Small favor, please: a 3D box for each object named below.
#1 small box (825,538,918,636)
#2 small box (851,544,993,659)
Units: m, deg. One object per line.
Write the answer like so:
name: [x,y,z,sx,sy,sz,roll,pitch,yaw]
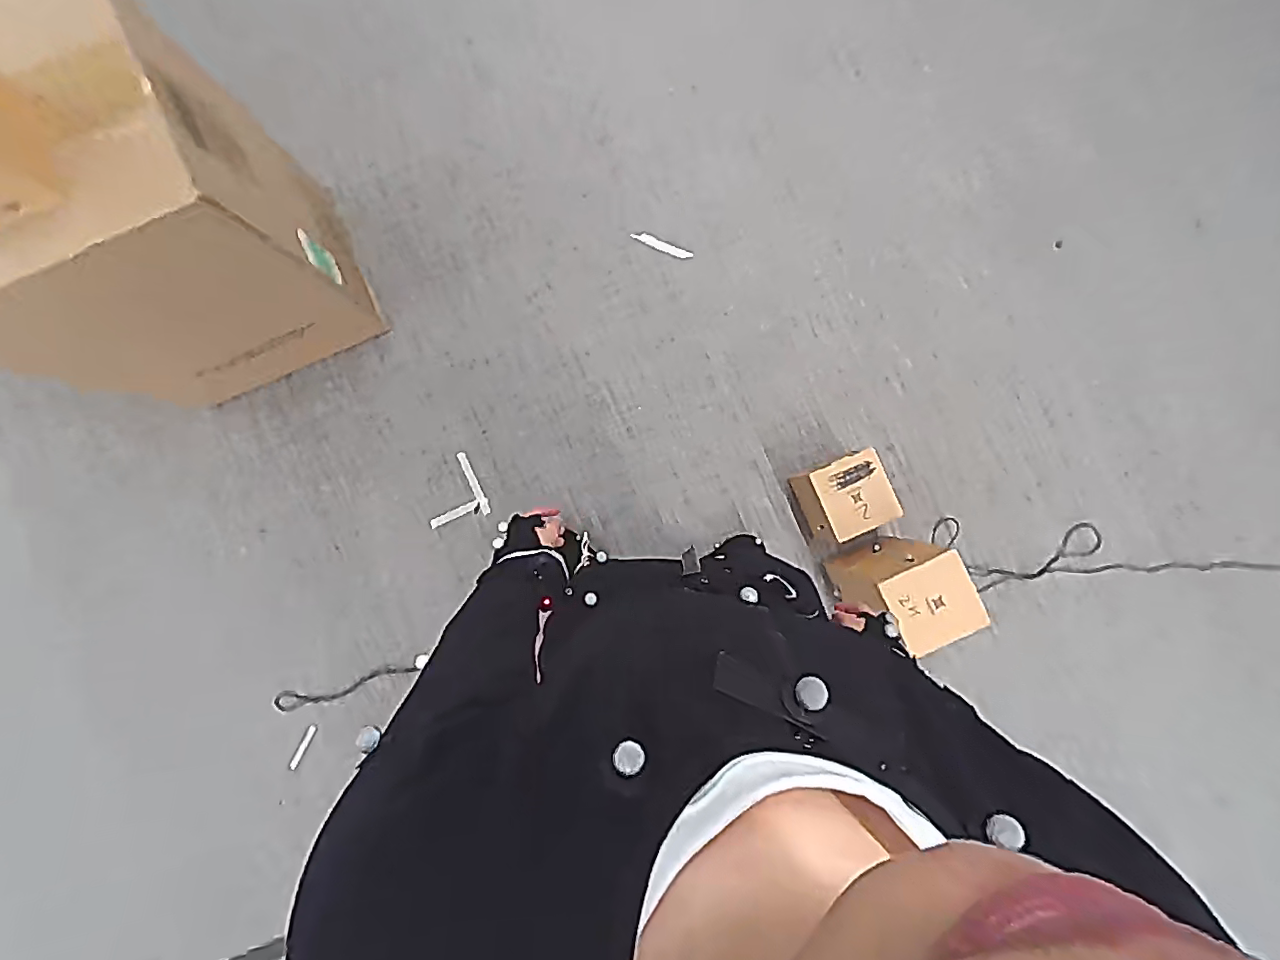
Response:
small box: [0.578,0.247,1.298,0.179,0.176,0.168,-23,88,0]
small box: [0.579,0.244,1.134,0.179,0.176,0.168,-24,88,0]
